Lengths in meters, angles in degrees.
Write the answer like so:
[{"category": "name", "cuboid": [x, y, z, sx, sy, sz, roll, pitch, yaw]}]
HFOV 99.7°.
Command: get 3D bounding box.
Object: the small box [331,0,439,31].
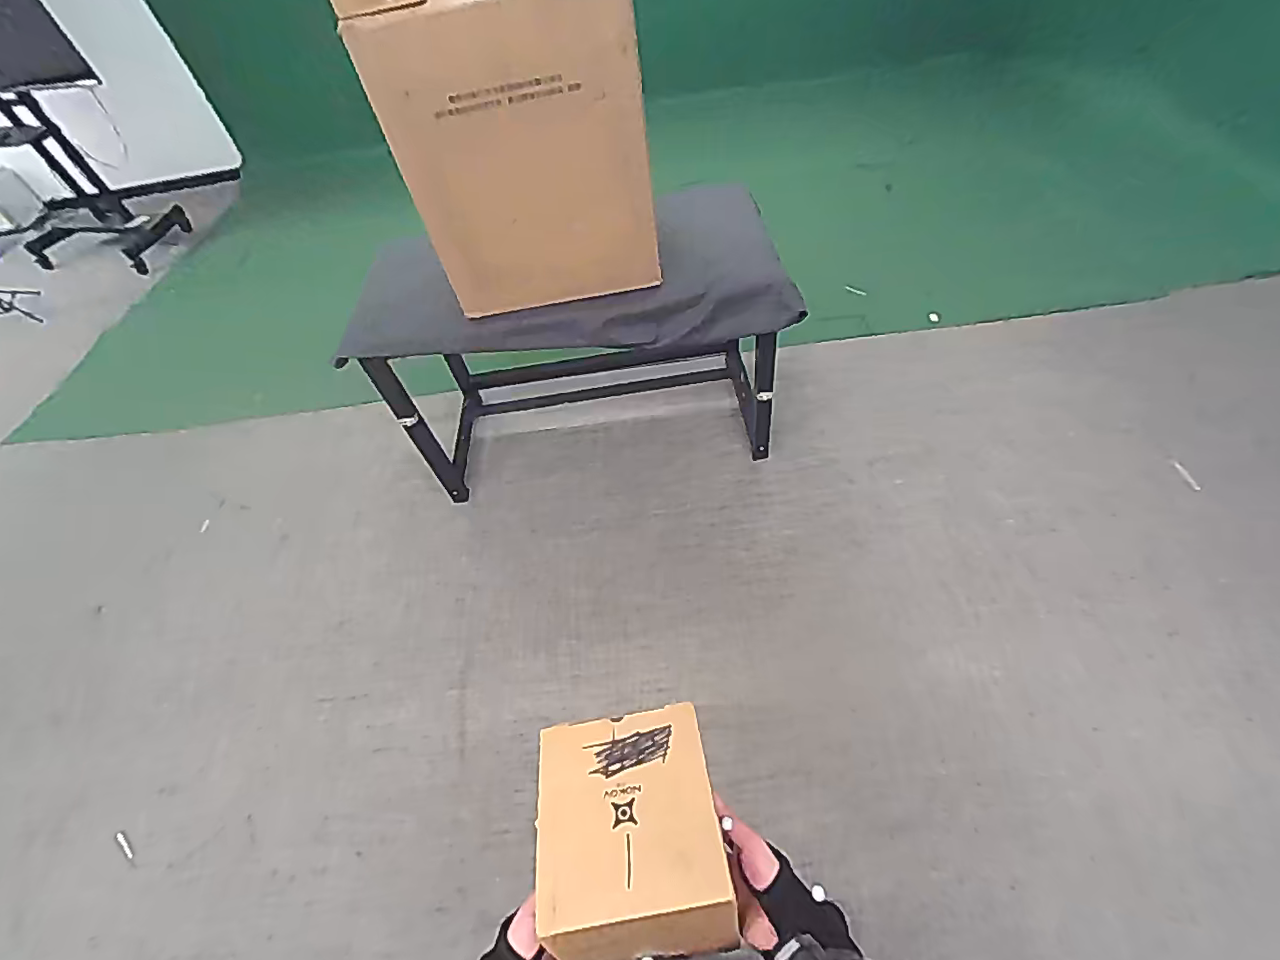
[{"category": "small box", "cuboid": [-0.486, -0.949, 0.985, 0.168, 0.176, 0.179, -9, 51, 3]}]
